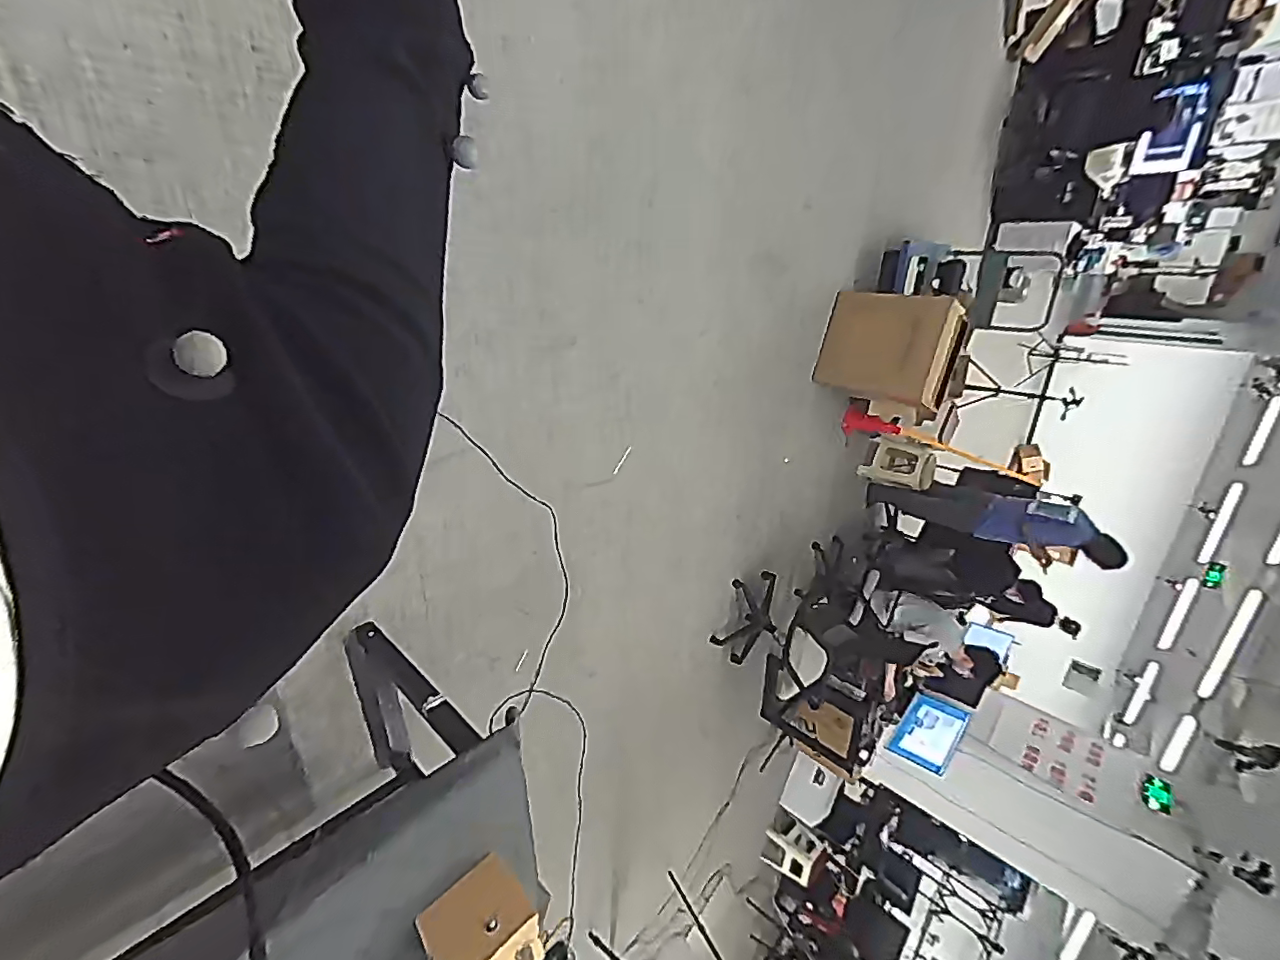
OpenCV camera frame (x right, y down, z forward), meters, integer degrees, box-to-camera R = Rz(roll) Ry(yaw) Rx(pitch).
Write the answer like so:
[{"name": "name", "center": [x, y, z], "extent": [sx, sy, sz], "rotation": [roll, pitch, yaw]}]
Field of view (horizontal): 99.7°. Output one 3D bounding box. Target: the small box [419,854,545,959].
[{"name": "small box", "center": [-0.317, 0.918, 1.094], "extent": [0.179, 0.176, 0.168], "rotation": [-24, 123, -40]}]
